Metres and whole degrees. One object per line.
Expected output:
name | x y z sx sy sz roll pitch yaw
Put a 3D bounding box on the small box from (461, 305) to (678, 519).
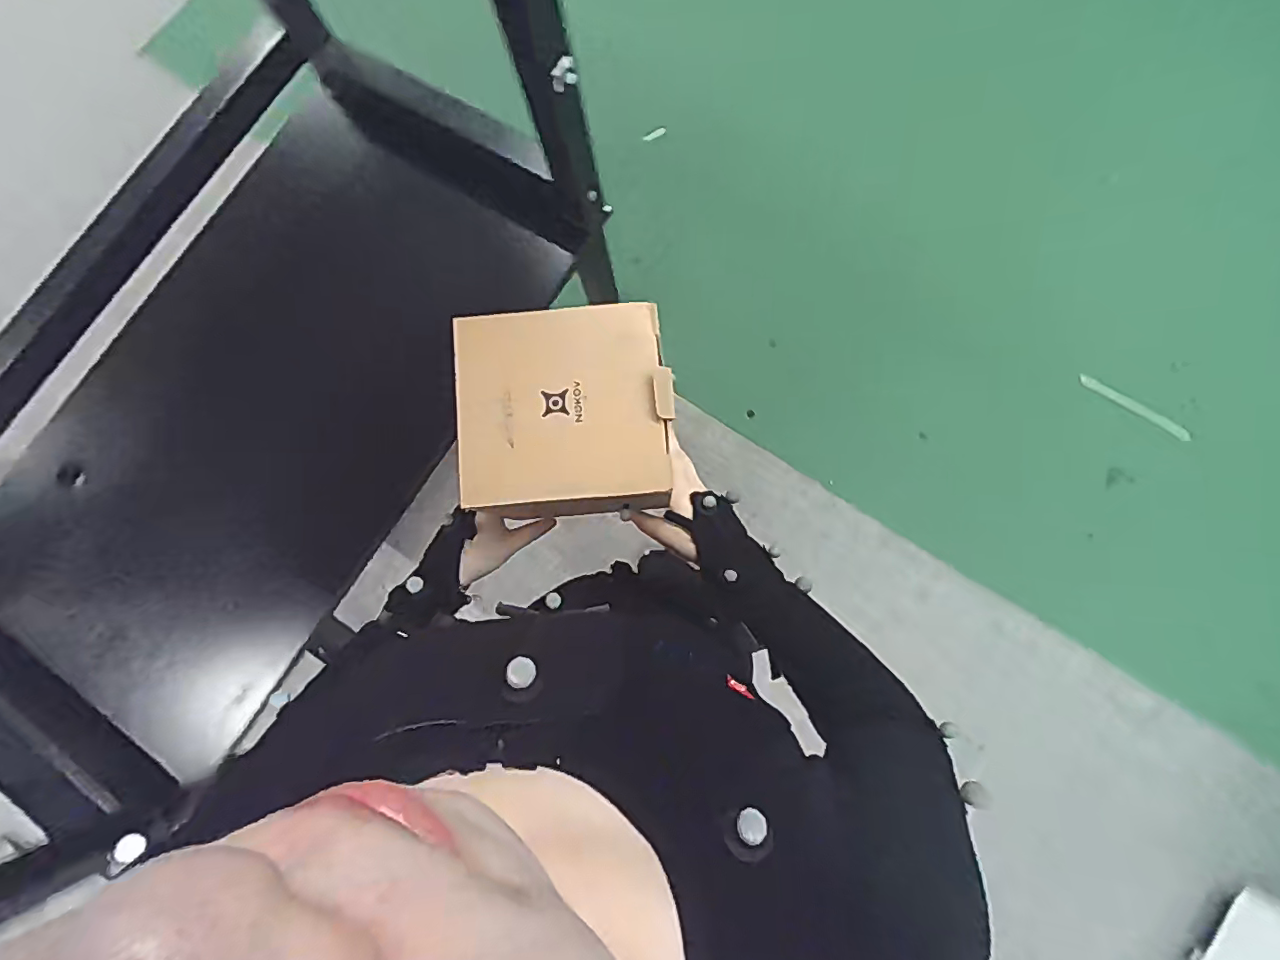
small box | -0.059 -0.053 0.528 0.179 0.176 0.168 -4 82 2
